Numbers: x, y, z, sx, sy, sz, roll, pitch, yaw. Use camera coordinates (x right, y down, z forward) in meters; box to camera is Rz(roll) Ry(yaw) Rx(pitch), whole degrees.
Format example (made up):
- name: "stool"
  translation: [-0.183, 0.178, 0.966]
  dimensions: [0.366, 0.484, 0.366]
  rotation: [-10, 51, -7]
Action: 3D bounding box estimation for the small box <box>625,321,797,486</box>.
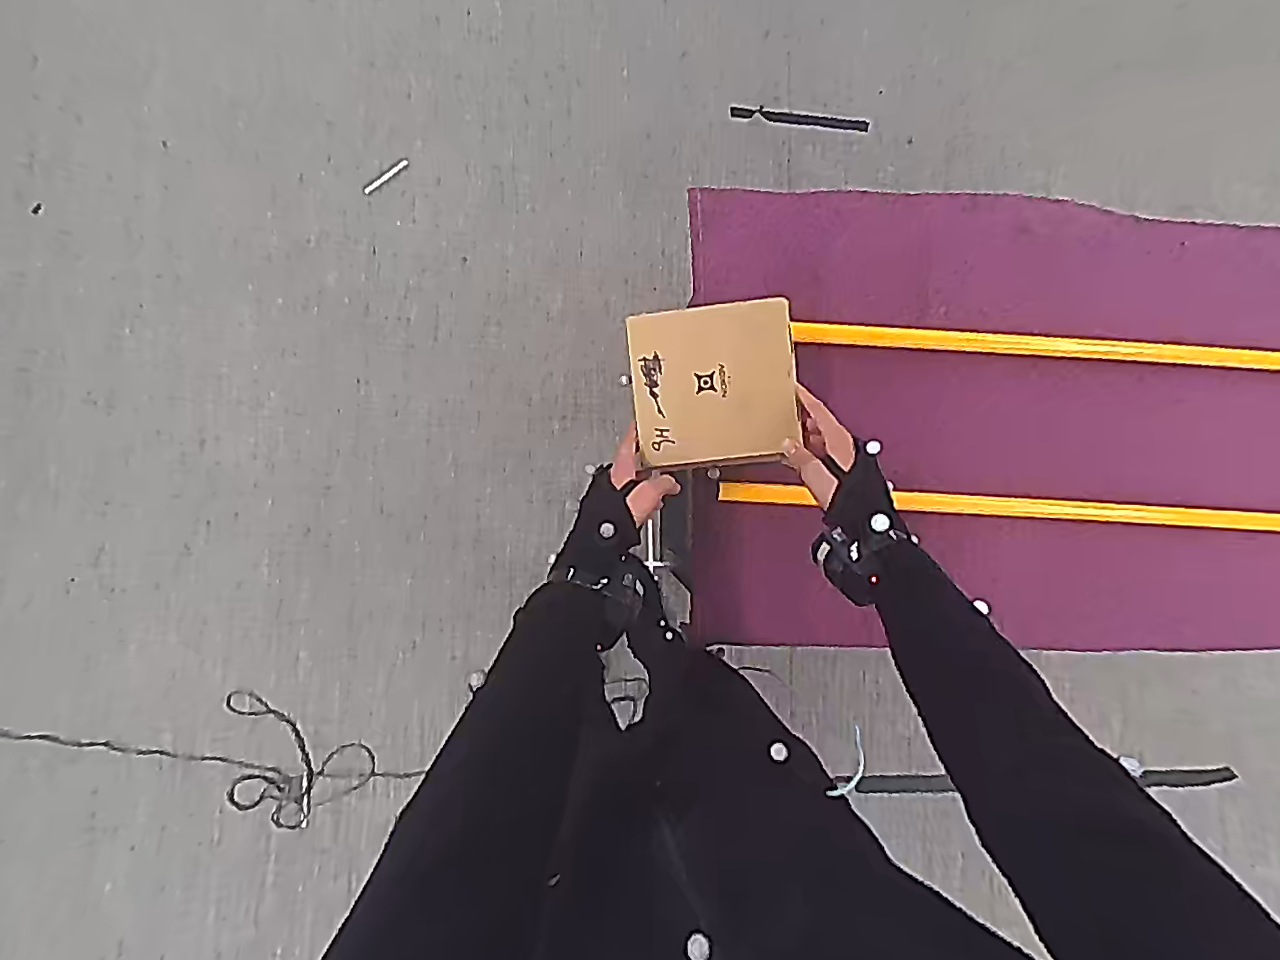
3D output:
- name: "small box"
  translation: [0.078, -0.083, 0.661]
  dimensions: [0.179, 0.176, 0.168]
  rotation: [-6, 89, 2]
